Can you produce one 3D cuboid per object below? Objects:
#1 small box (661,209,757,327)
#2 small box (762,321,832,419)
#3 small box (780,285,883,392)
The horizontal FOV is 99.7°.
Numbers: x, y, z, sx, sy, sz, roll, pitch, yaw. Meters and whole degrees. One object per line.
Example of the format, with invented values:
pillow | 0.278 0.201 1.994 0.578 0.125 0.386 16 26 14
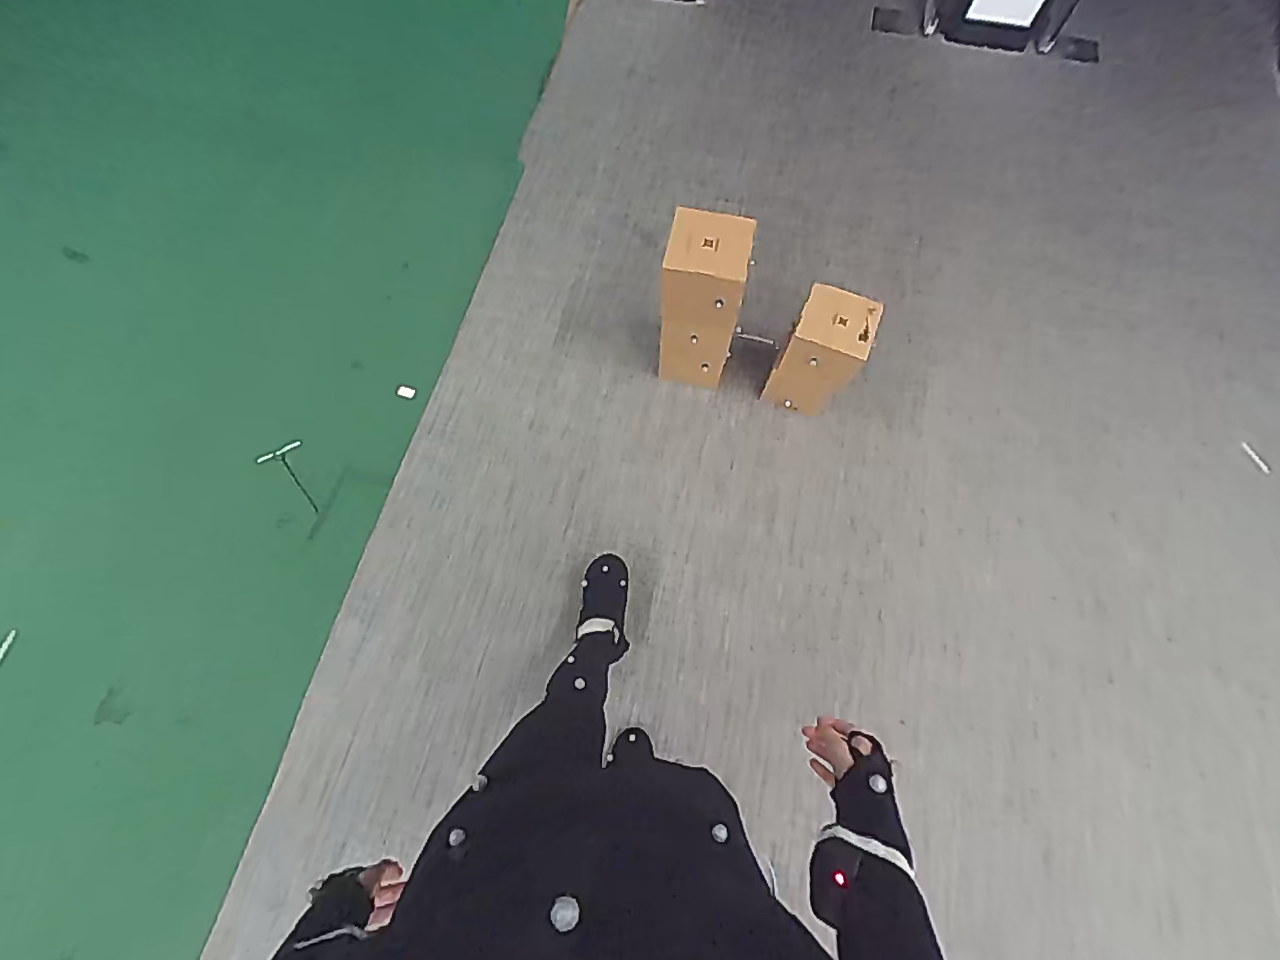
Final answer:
small box | 0.149 -0.466 1.210 0.179 0.176 0.168 12 72 5
small box | 0.453 -0.300 1.500 0.168 0.176 0.179 22 74 8
small box | 0.466 -0.344 1.341 0.179 0.176 0.168 22 74 9
